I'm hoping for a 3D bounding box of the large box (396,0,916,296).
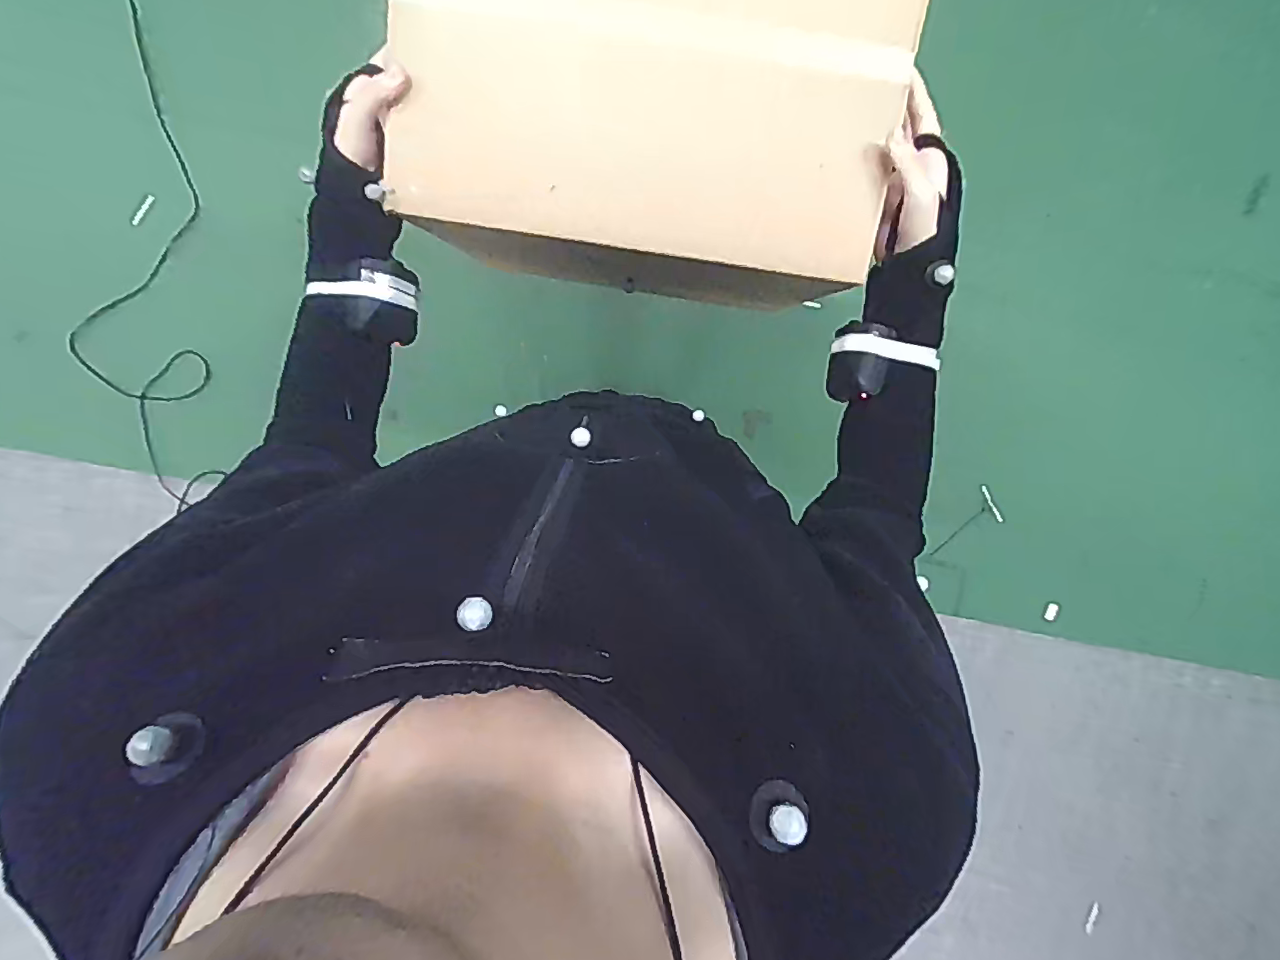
[{"bbox_3d":[0.013,-0.384,0.567,0.408,0.320,0.320,8,104,-2],"label":"large box"}]
